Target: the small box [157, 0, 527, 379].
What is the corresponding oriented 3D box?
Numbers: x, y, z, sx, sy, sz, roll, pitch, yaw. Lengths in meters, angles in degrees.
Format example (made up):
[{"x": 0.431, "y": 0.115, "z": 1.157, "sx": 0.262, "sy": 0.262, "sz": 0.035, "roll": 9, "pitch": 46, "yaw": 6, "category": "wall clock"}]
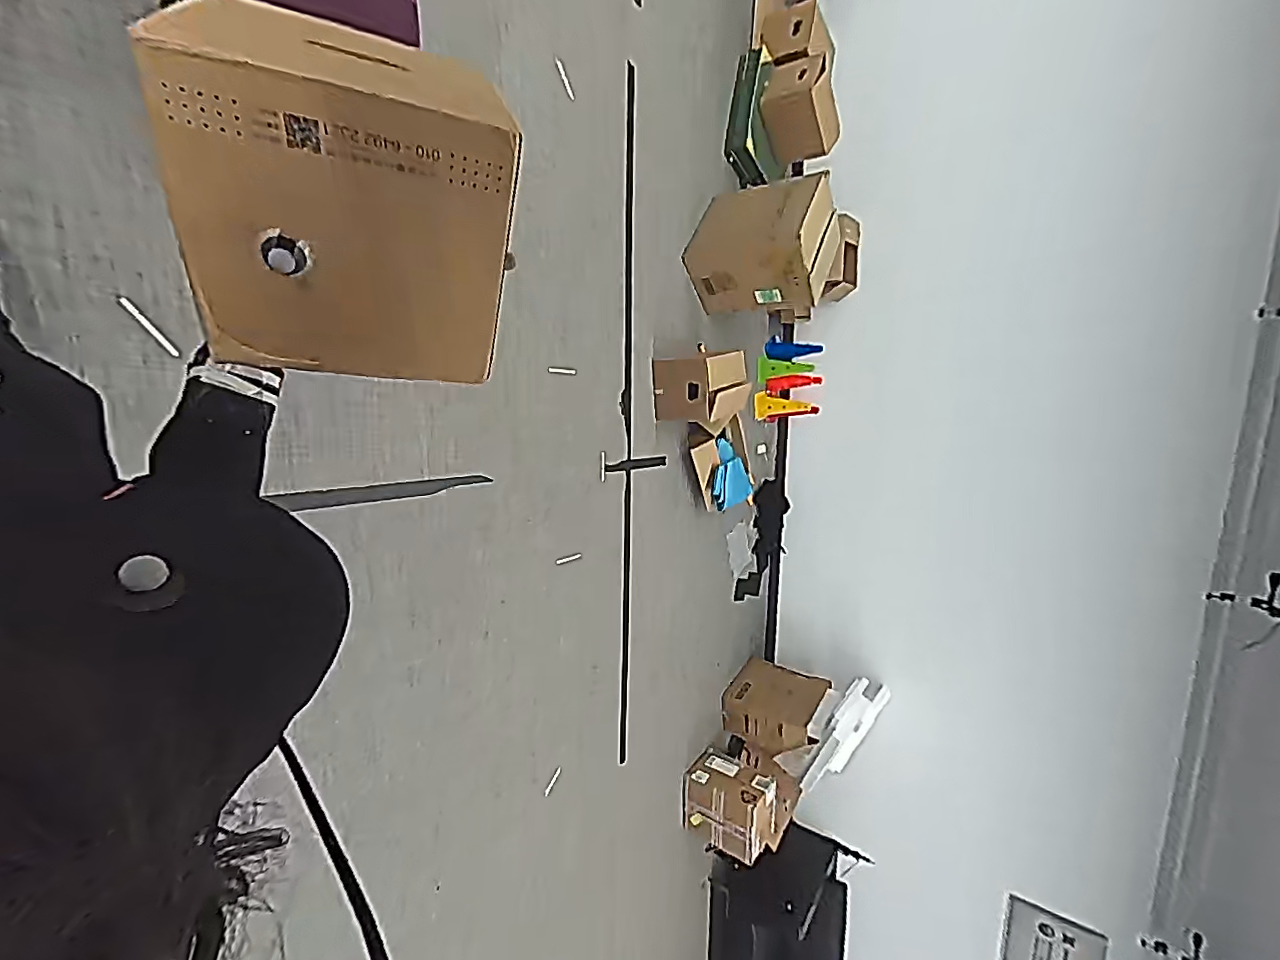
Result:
[{"x": -0.178, "y": -0.190, "z": 0.357, "sx": 0.168, "sy": 0.179, "sz": 0.176, "roll": 1, "pitch": 134, "yaw": -26, "category": "small box"}]
